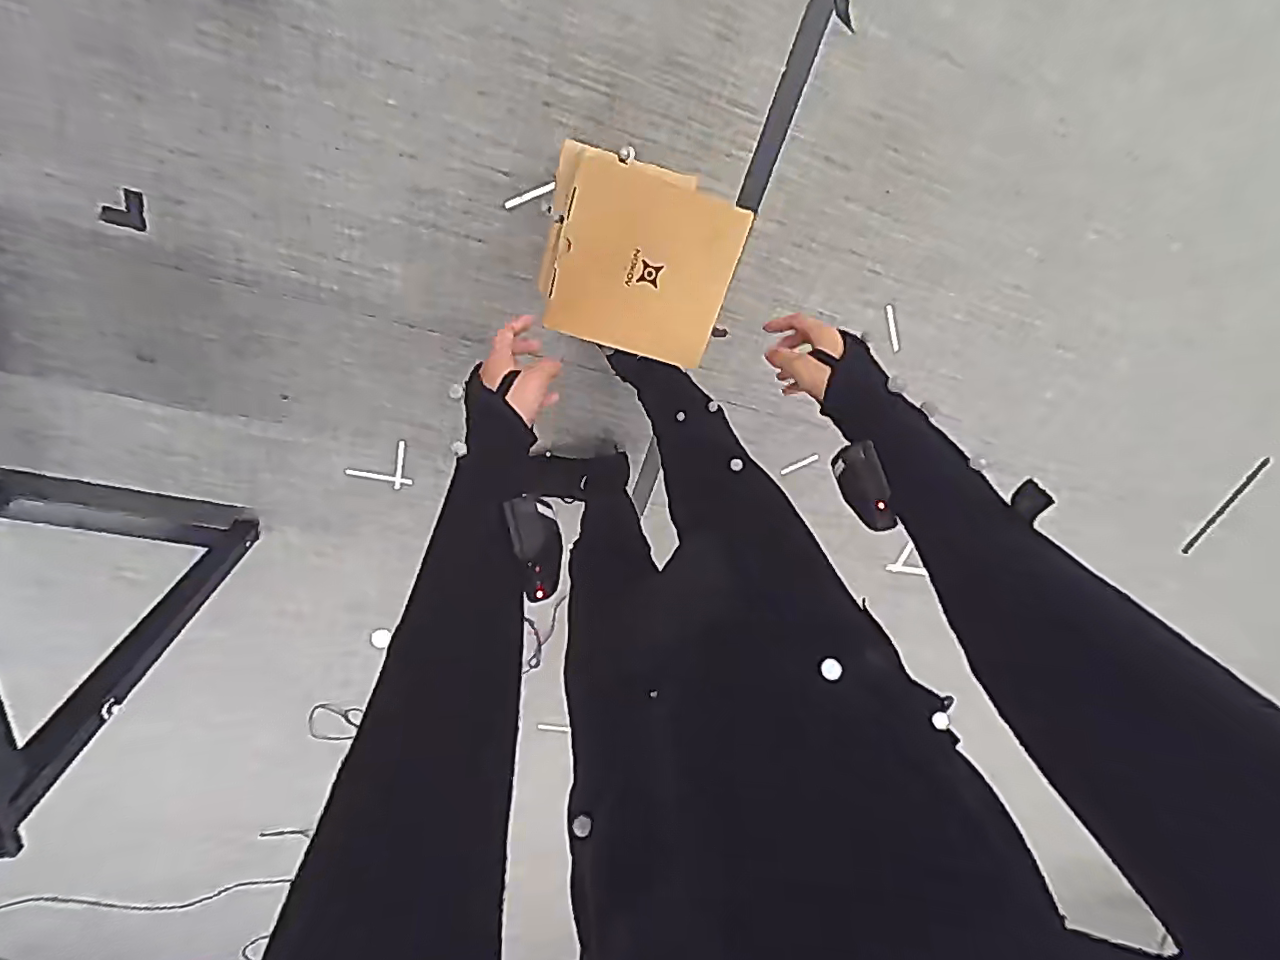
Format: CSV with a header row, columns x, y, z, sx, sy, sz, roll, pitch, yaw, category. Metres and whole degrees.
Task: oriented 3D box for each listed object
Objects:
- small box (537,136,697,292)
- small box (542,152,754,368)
x,y,z,sx,sy,sz,roll,pitch,yaw,category
-0.040,-0.340,0.733,0.168,0.176,0.179,10,118,-14,small box
-0.004,-0.248,0.603,0.179,0.176,0.168,12,118,-14,small box
